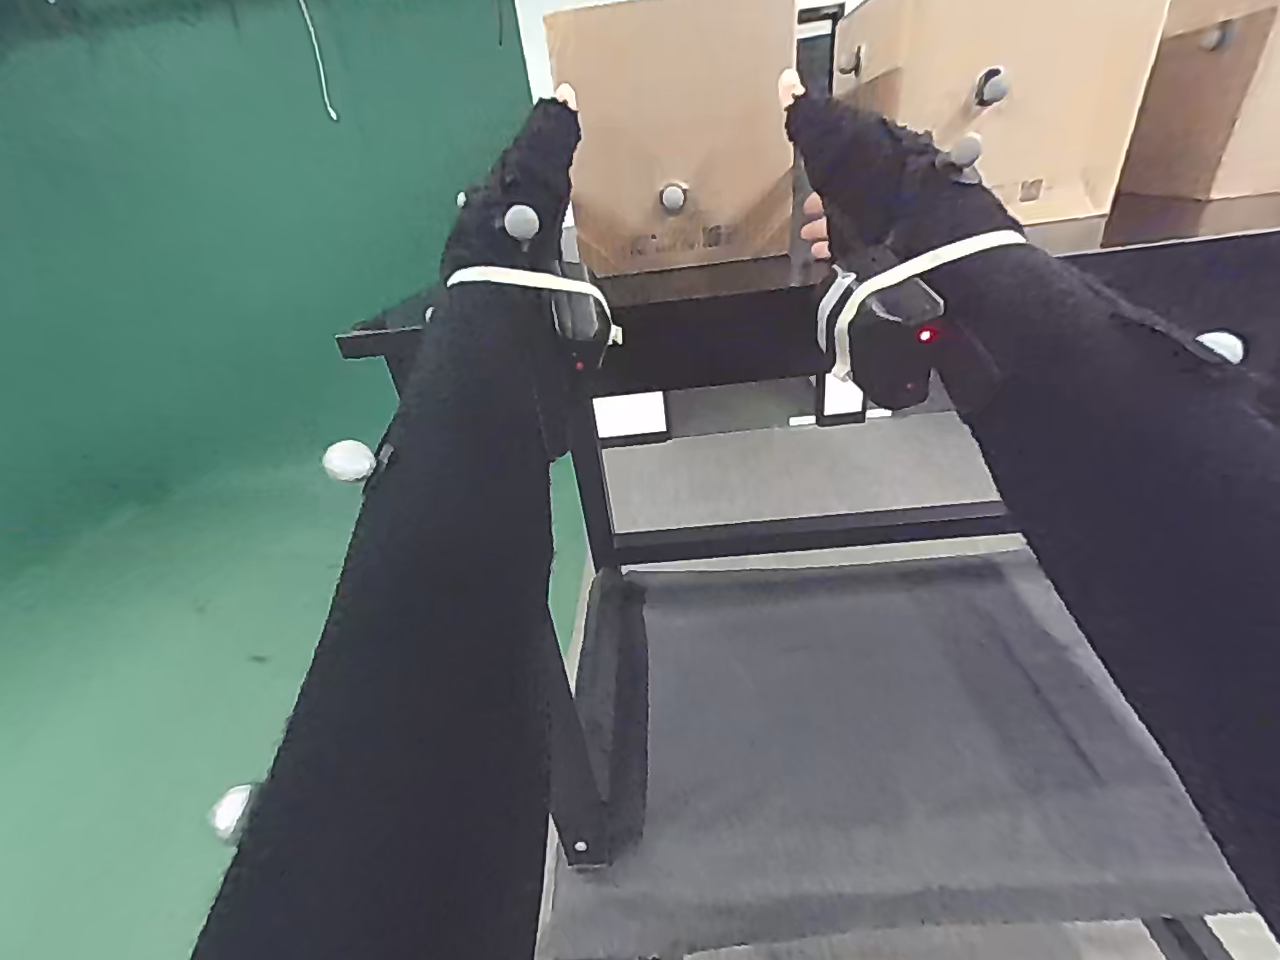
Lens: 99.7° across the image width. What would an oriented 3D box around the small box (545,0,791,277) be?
[{"bbox_3d":[0.026,-0.279,0.466,0.168,0.176,0.179,-6,30,3],"label":"small box"}]
